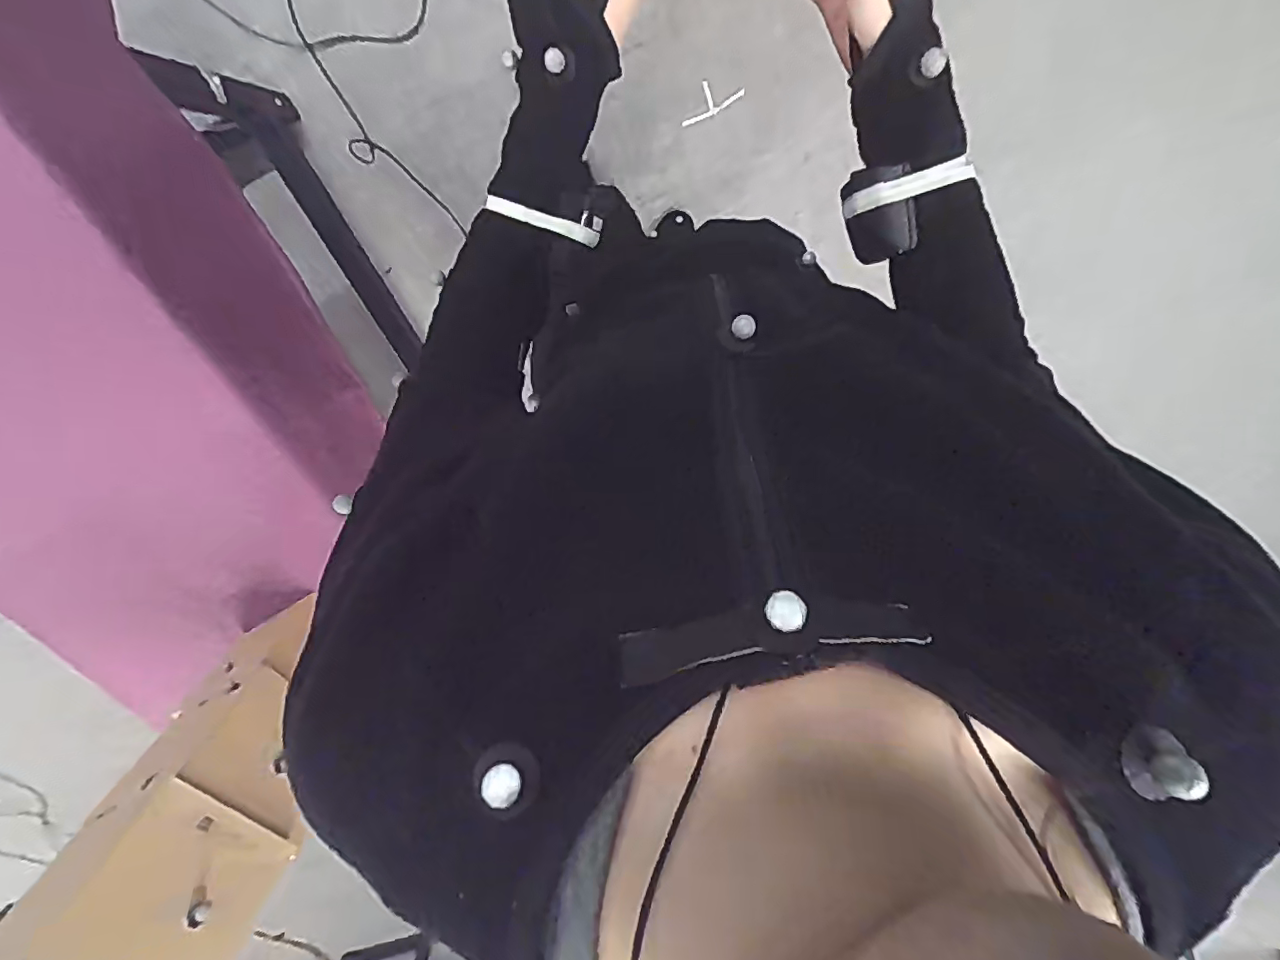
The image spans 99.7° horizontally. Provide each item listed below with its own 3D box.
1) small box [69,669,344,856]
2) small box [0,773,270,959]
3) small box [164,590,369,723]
[{"bbox_3d":[-0.533,0.371,0.696,0.168,0.176,0.179,-28,115,13],"label":"small box"},{"bbox_3d":[-0.525,0.435,0.546,0.179,0.176,0.168,-31,113,15],"label":"small box"},{"bbox_3d":[-0.559,0.302,0.845,0.179,0.176,0.168,-27,114,14],"label":"small box"}]
